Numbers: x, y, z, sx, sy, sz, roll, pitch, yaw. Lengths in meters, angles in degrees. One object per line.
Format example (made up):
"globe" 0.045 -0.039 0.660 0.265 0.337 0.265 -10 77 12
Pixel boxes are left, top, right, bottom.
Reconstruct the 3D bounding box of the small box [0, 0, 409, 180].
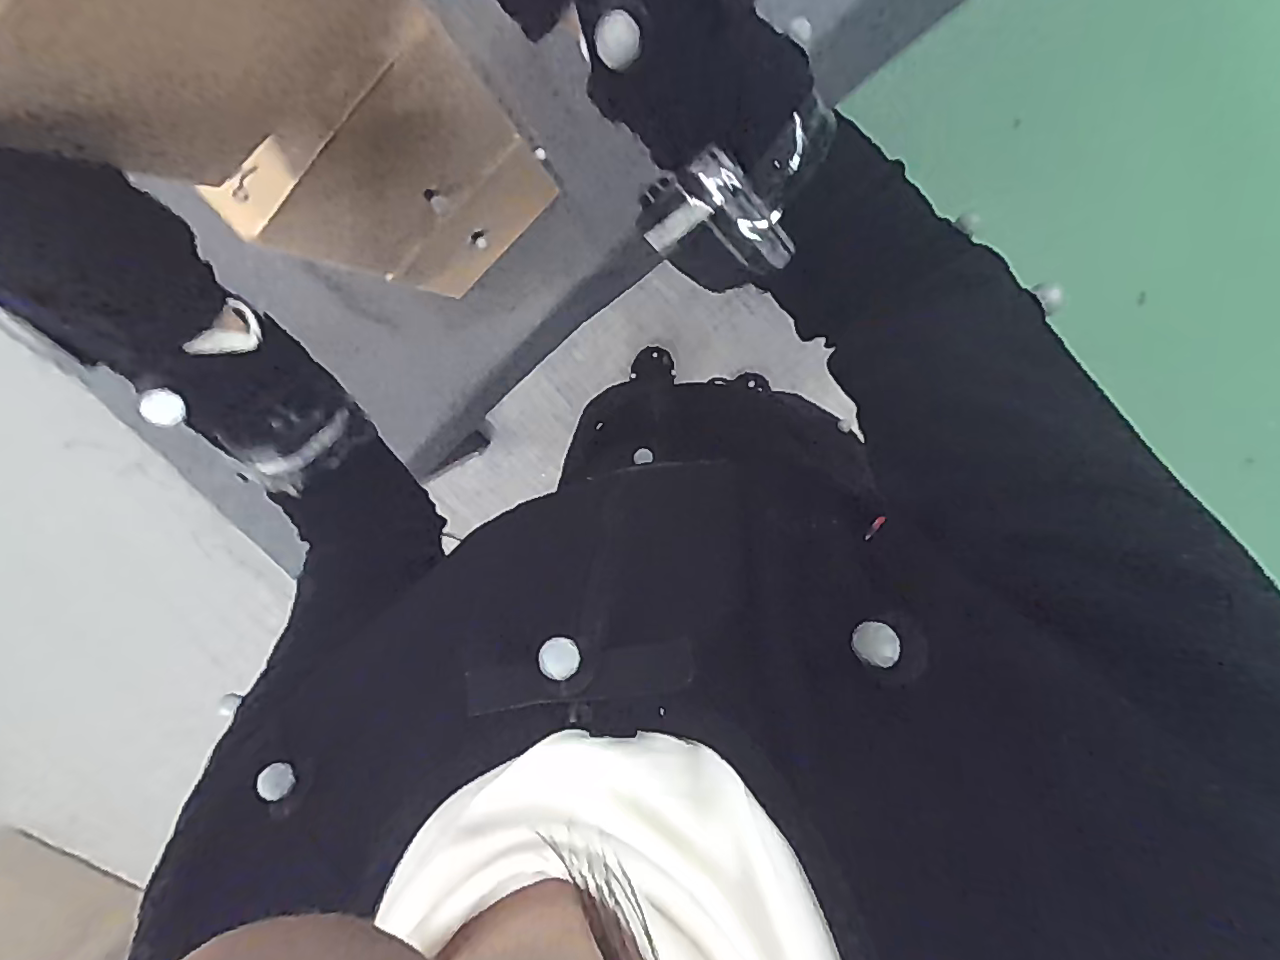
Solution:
"small box" -0.202 -0.238 0.188 0.179 0.176 0.168 -38 114 10

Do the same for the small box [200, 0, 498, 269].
"small box" -0.228 -0.284 0.396 0.179 0.176 0.168 -41 97 12

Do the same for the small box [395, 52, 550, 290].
"small box" -0.210 -0.322 0.554 0.168 0.176 0.179 44 102 -7
